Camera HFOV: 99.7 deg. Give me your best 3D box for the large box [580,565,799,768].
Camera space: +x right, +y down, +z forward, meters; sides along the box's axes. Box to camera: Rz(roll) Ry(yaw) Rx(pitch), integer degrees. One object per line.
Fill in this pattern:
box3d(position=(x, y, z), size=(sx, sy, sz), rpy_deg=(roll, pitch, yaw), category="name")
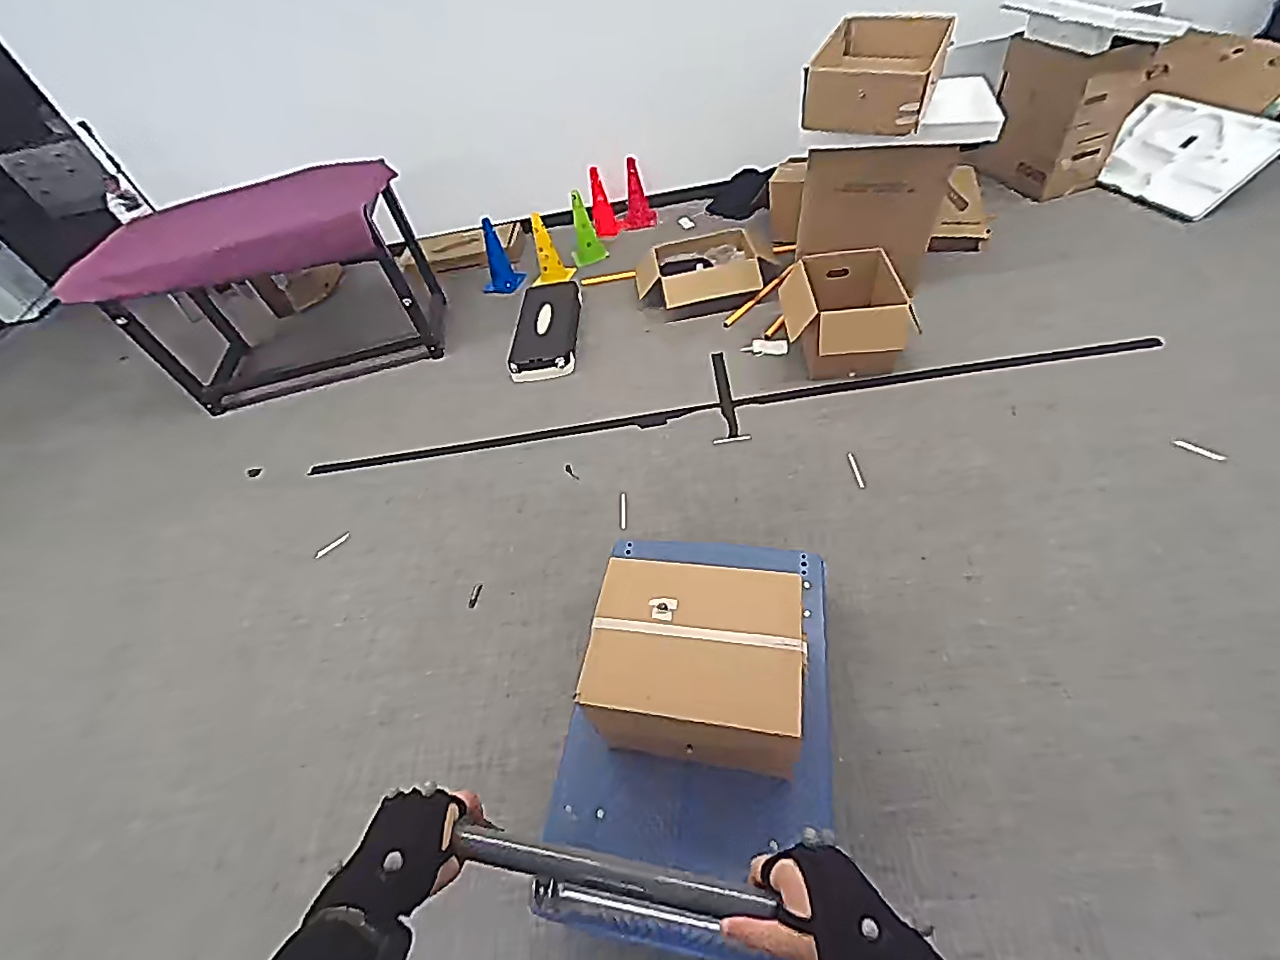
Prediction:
box3d(position=(0.130, 0.402, 1.173), size=(0.408, 0.320, 0.320), rpy_deg=(2, 50, 14), category="large box")
